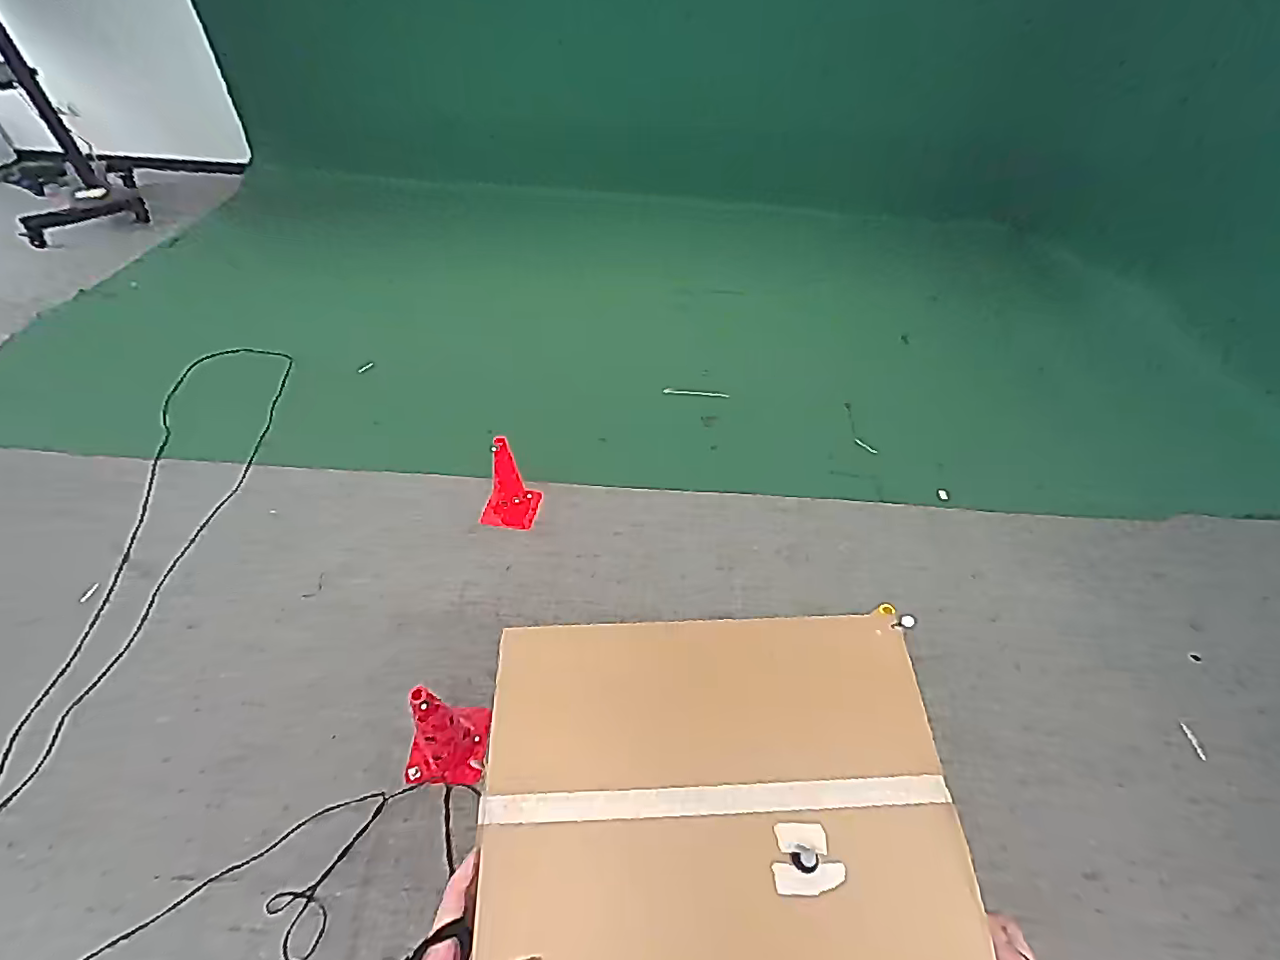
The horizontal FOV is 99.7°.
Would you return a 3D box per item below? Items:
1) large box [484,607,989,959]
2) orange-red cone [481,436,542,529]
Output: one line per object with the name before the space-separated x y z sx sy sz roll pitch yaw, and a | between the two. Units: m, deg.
large box | 0.067 0.351 0.612 0.408 0.320 0.320 -2 60 -2
orange-red cone | -0.488 -0.015 1.961 0.199 0.360 0.198 8 46 6
